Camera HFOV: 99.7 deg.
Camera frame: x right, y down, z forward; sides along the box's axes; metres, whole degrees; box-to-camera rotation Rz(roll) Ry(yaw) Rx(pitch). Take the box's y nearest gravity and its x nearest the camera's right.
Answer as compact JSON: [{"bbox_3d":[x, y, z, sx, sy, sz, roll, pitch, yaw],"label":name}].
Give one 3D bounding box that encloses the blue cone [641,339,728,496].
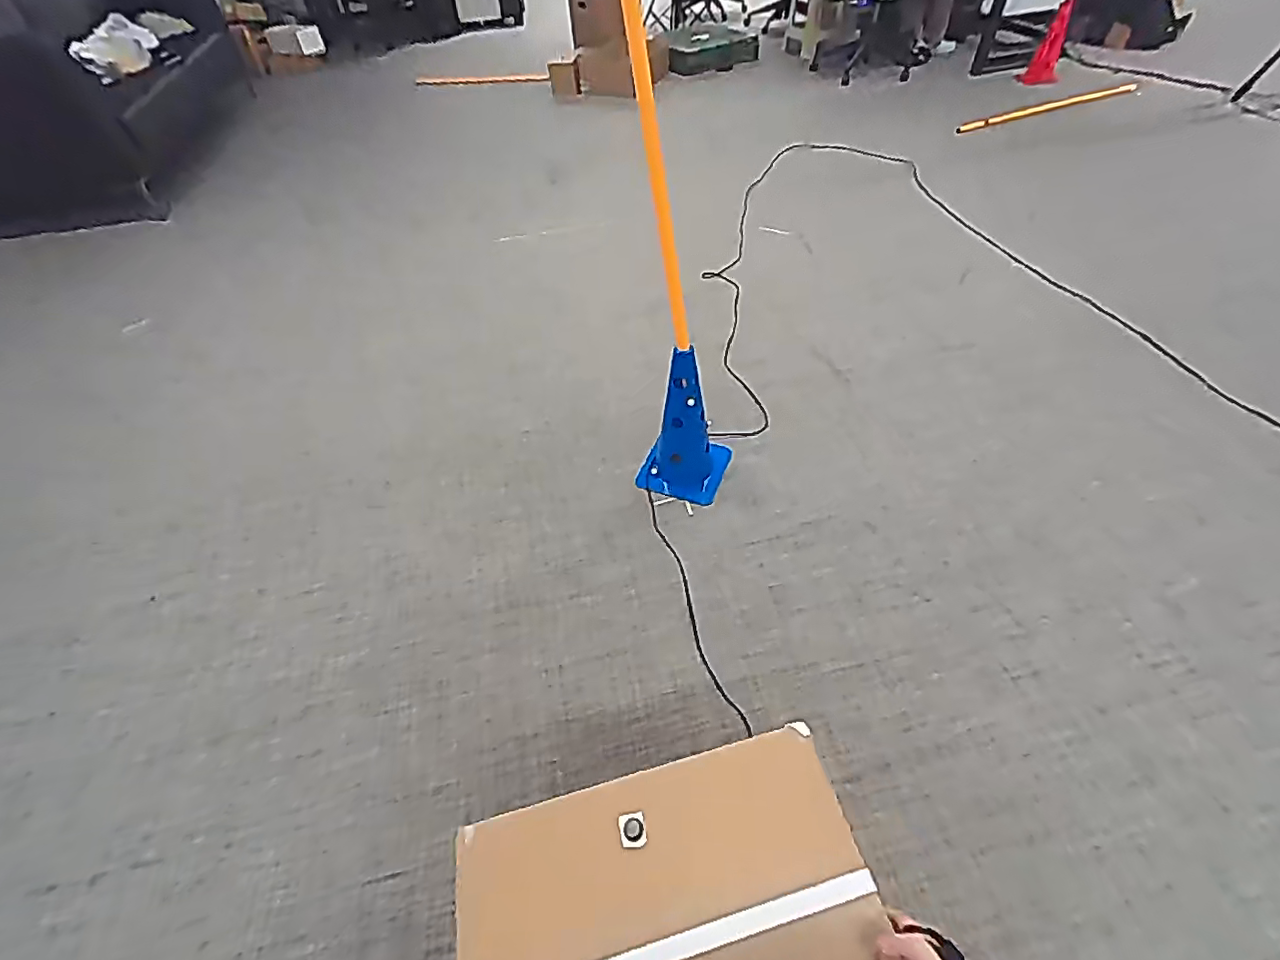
[{"bbox_3d":[0.100,-0.148,1.211,0.192,0.380,0.193,13,52,16],"label":"blue cone"}]
